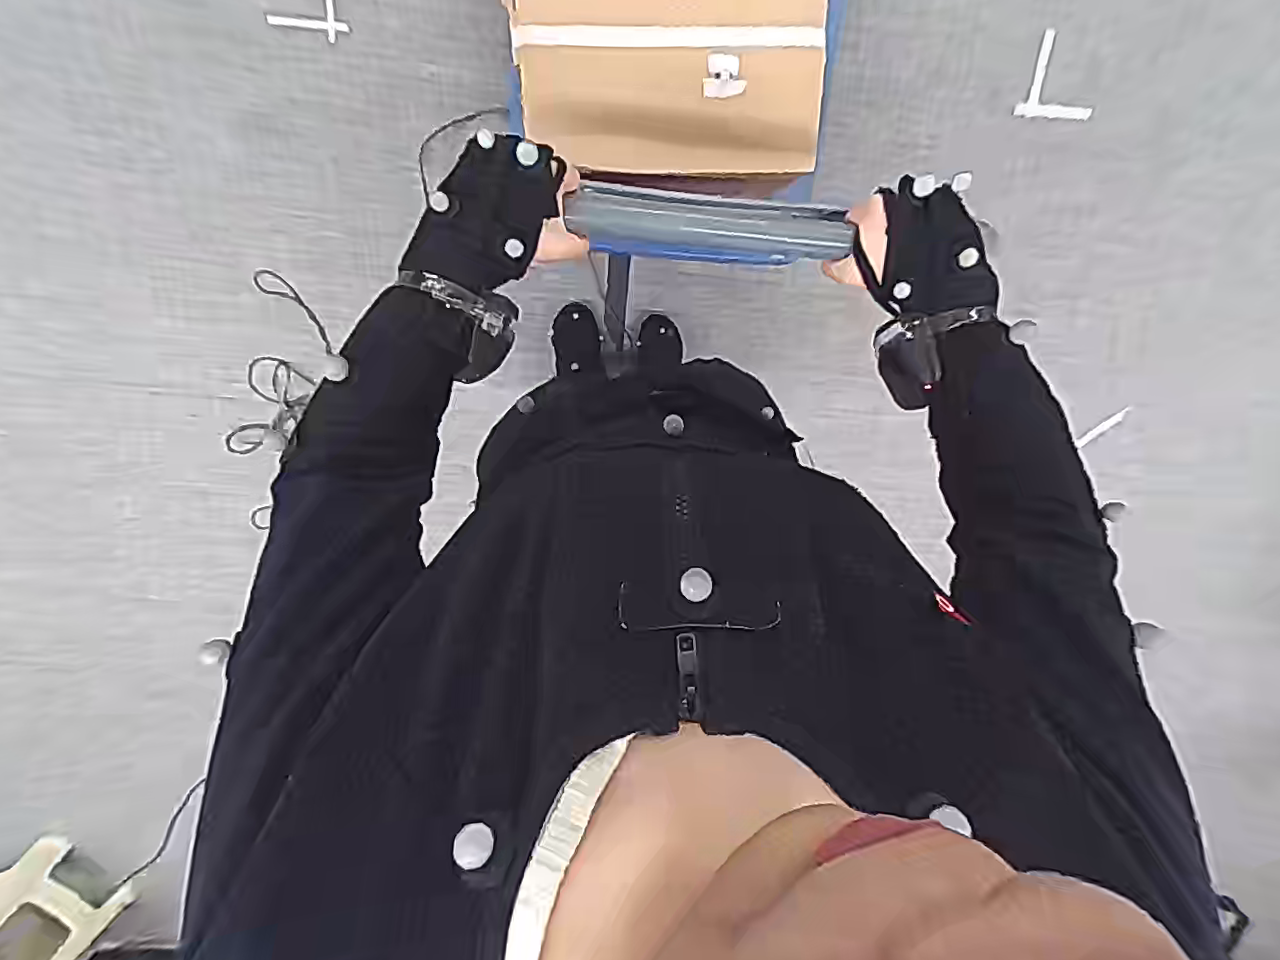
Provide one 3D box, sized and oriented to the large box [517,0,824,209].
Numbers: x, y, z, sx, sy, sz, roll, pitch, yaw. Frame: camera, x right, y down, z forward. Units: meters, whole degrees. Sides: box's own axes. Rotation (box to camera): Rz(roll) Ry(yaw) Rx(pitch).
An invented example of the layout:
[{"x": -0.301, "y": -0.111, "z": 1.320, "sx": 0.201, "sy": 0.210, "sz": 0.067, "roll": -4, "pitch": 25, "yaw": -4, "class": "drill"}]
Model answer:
[{"x": 0.030, "y": -0.622, "z": 0.849, "sx": 0.408, "sy": 0.320, "sz": 0.320, "roll": -3, "pitch": 110, "yaw": -4, "class": "large box"}]
